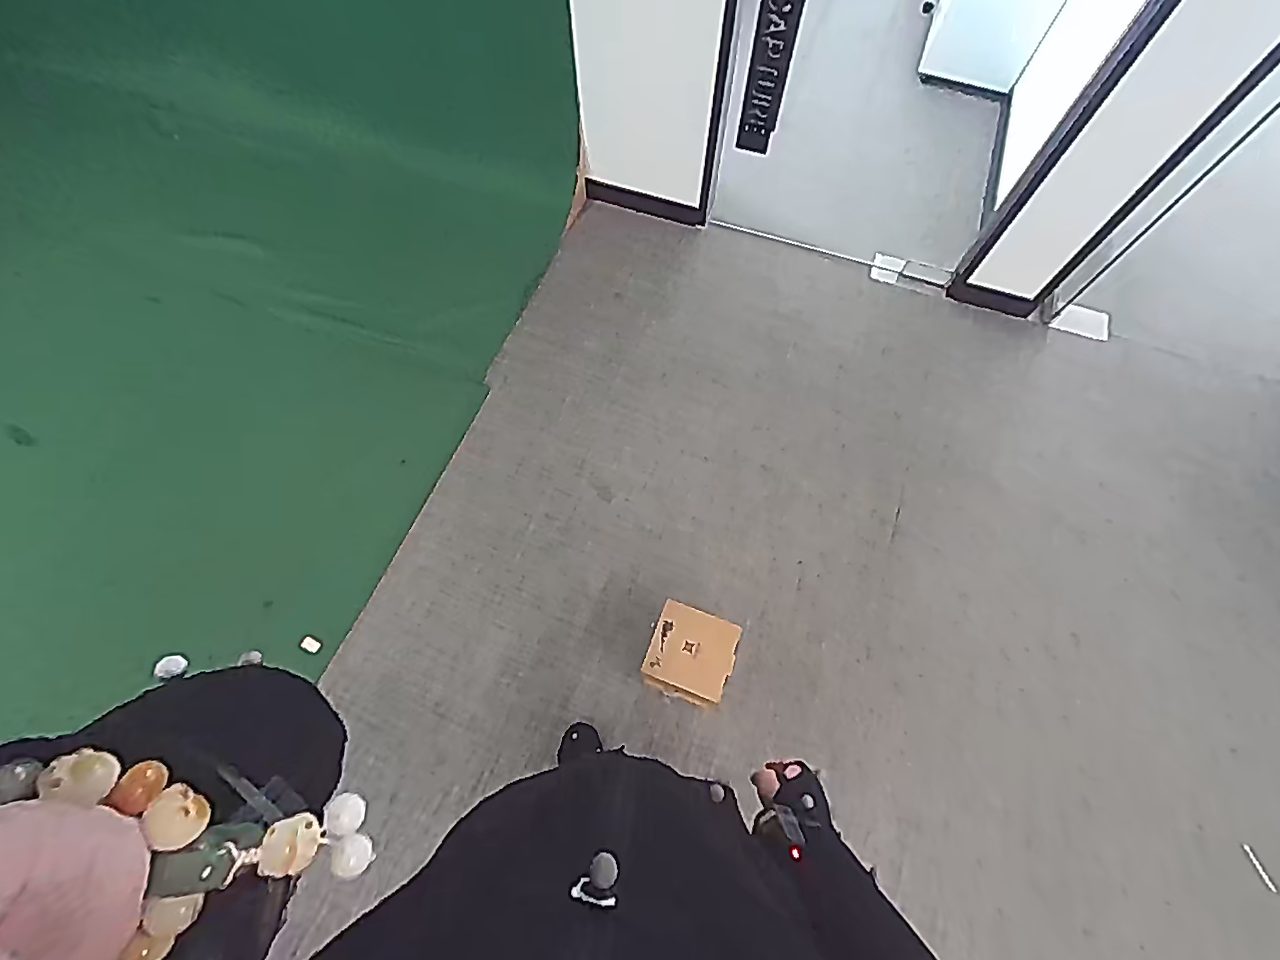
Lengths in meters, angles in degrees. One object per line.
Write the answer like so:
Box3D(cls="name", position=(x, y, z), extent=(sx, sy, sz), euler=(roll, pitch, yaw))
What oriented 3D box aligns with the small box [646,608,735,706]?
Box3D(cls="small box", position=(0.121, 0.446, 1.351), extent=(0.168, 0.176, 0.179), euler=(21, 69, 11))
